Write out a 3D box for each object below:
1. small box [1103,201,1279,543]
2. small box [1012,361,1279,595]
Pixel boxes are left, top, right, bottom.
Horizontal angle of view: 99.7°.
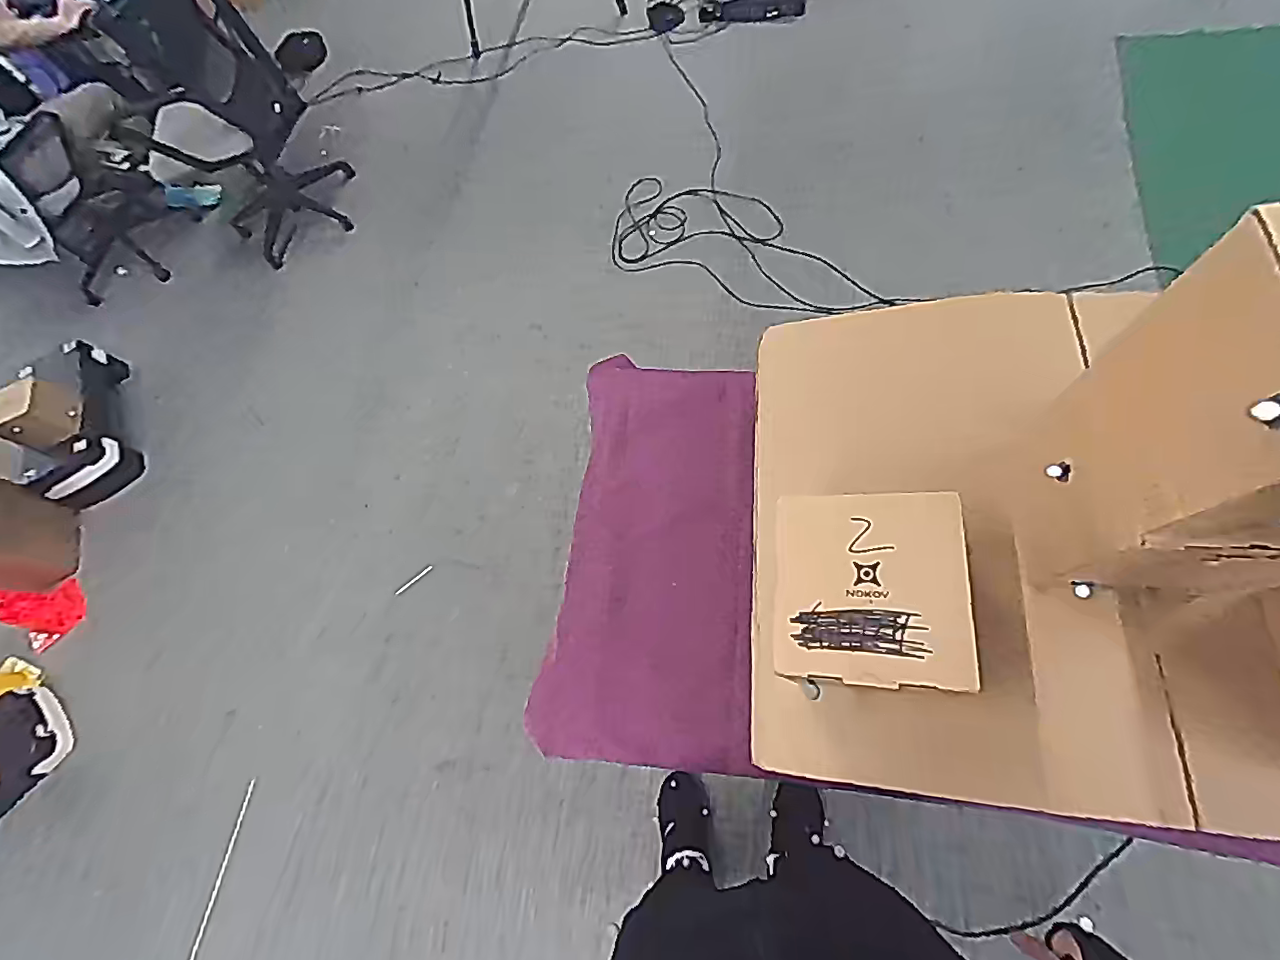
[{"bbox_3d":[0.475,-0.062,0.374,0.168,0.176,0.179,2,69,8],"label":"small box"},{"bbox_3d":[0.496,0.007,0.519,0.168,0.176,0.179,3,67,8],"label":"small box"}]
